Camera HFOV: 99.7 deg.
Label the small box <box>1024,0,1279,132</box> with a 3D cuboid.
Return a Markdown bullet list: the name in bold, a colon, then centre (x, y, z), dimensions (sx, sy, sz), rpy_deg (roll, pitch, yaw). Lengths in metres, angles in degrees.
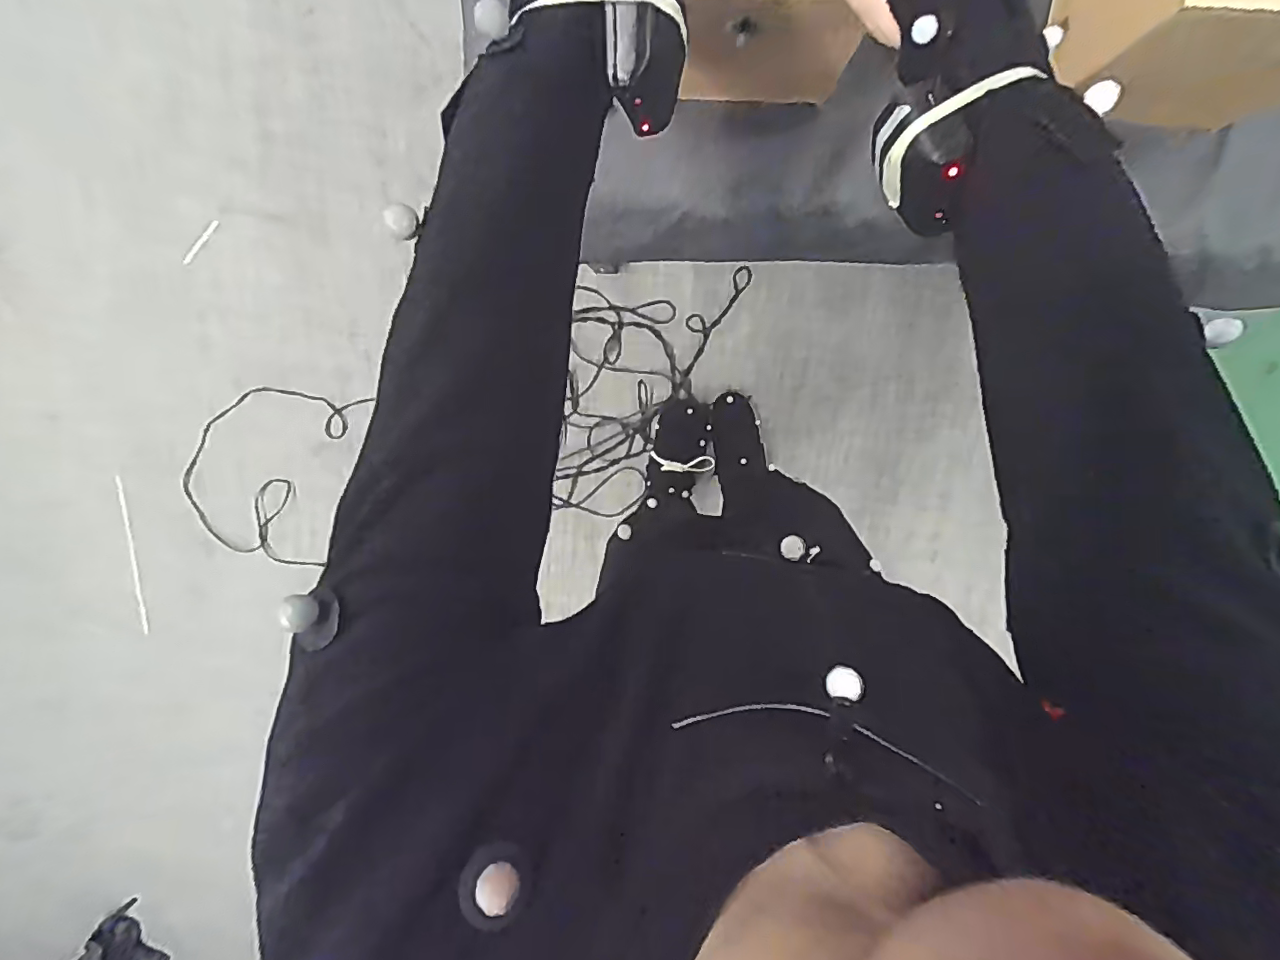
- **small box**: centre (0.439, -0.388, 0.407), dimensions (0.179, 0.176, 0.168), rpy_deg (5, 103, 2)

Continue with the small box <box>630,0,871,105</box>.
- **small box**: centre (0.082, -0.420, 0.420), dimensions (0.179, 0.176, 0.168), rpy_deg (4, 104, 1)
